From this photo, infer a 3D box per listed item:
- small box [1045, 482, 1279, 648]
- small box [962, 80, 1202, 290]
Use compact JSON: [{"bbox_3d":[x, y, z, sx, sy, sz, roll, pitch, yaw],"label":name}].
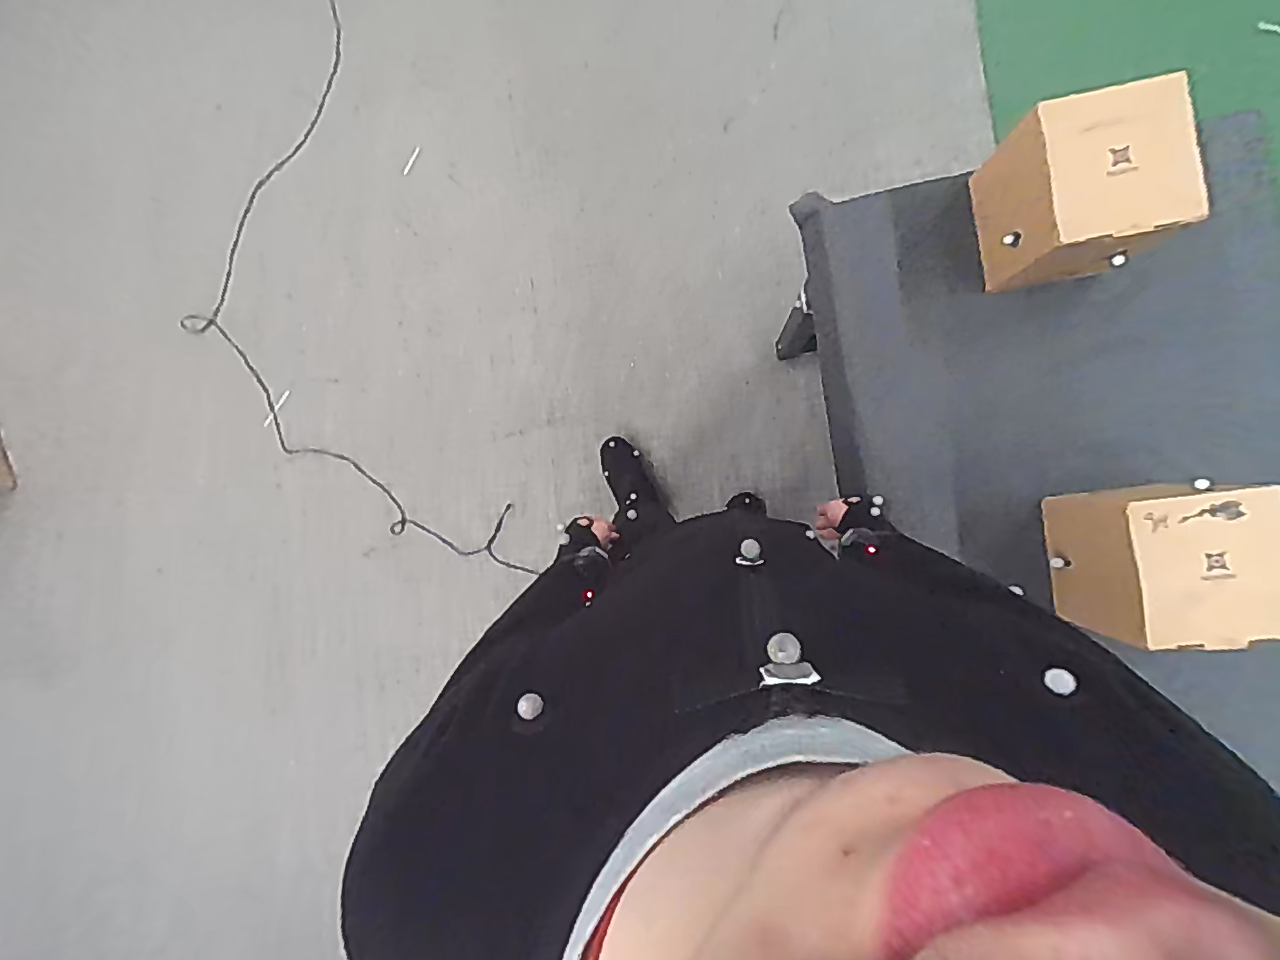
[{"bbox_3d":[0.671,0.099,0.700,0.168,0.176,0.179,-9,89,4],"label":"small box"},{"bbox_3d":[0.566,-0.371,0.718,0.168,0.176,0.179,-11,87,3],"label":"small box"}]
